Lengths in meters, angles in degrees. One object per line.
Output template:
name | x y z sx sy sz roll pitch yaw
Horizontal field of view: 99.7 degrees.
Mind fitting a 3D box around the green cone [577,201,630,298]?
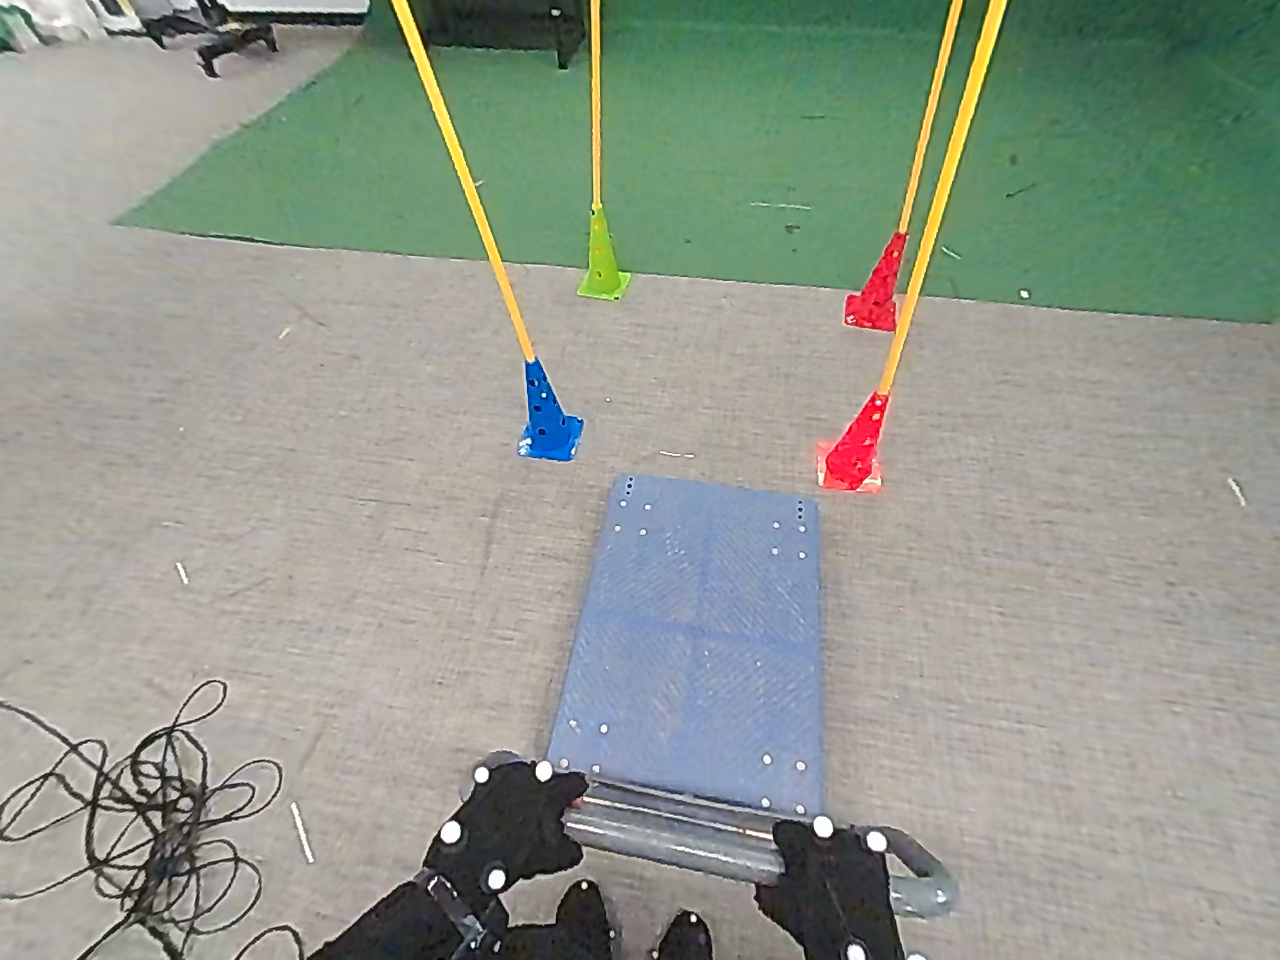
green cone | -0.166 -0.975 2.249 0.202 0.368 0.200 11 56 10

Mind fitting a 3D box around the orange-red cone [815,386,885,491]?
orange-red cone | 0.674 -0.148 1.656 0.199 0.360 0.198 6 55 8
